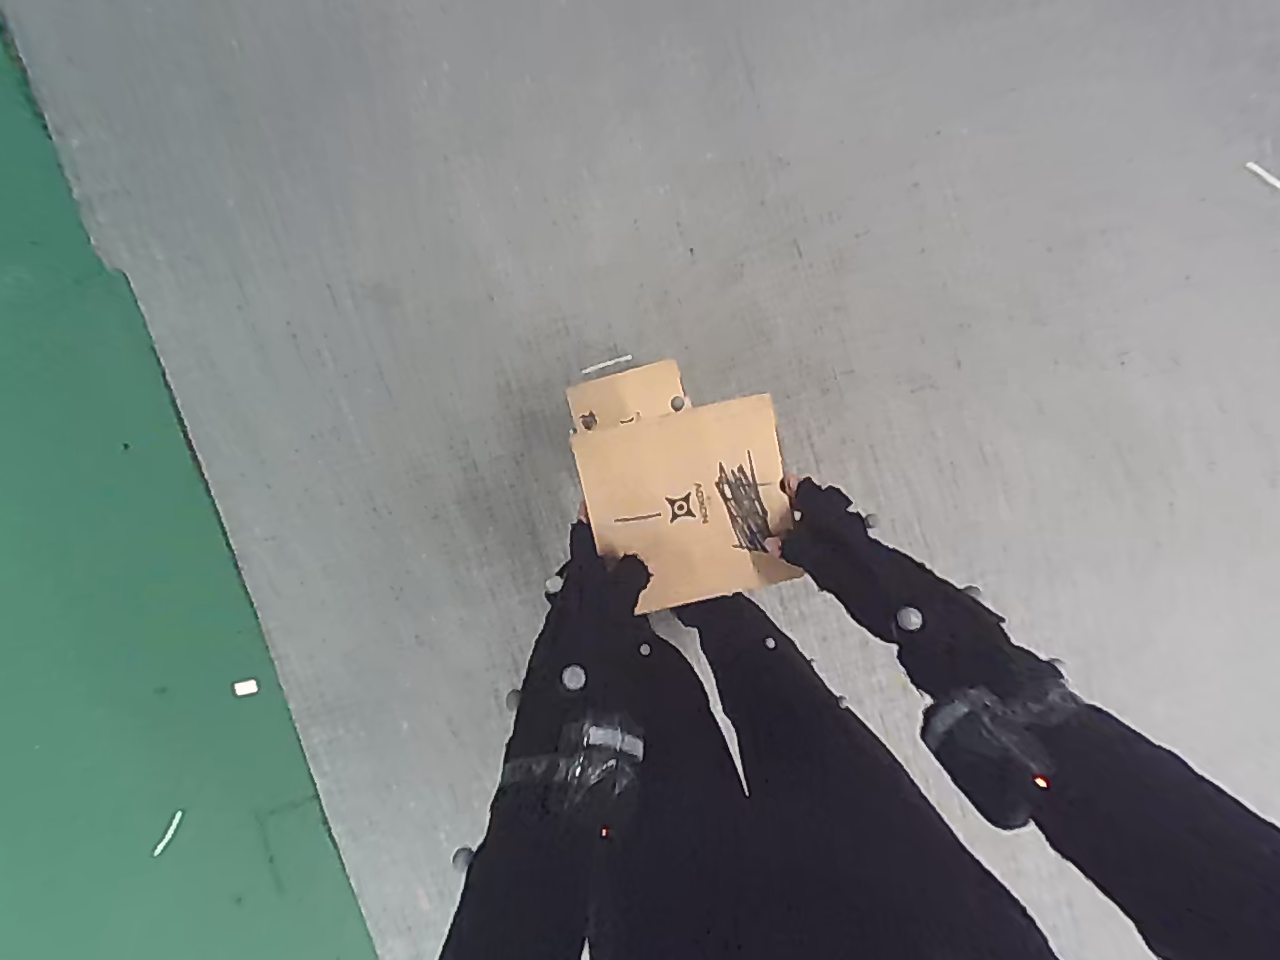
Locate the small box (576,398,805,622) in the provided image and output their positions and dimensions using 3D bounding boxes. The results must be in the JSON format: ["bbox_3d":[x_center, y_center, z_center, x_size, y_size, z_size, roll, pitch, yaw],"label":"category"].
[{"bbox_3d":[0.041,0.019,0.553,0.179,0.176,0.168,-16,95,-2],"label":"small box"}]

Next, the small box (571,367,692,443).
[{"bbox_3d":[-0.004,-0.080,0.900,0.179,0.176,0.168,-15,93,0],"label":"small box"}]
